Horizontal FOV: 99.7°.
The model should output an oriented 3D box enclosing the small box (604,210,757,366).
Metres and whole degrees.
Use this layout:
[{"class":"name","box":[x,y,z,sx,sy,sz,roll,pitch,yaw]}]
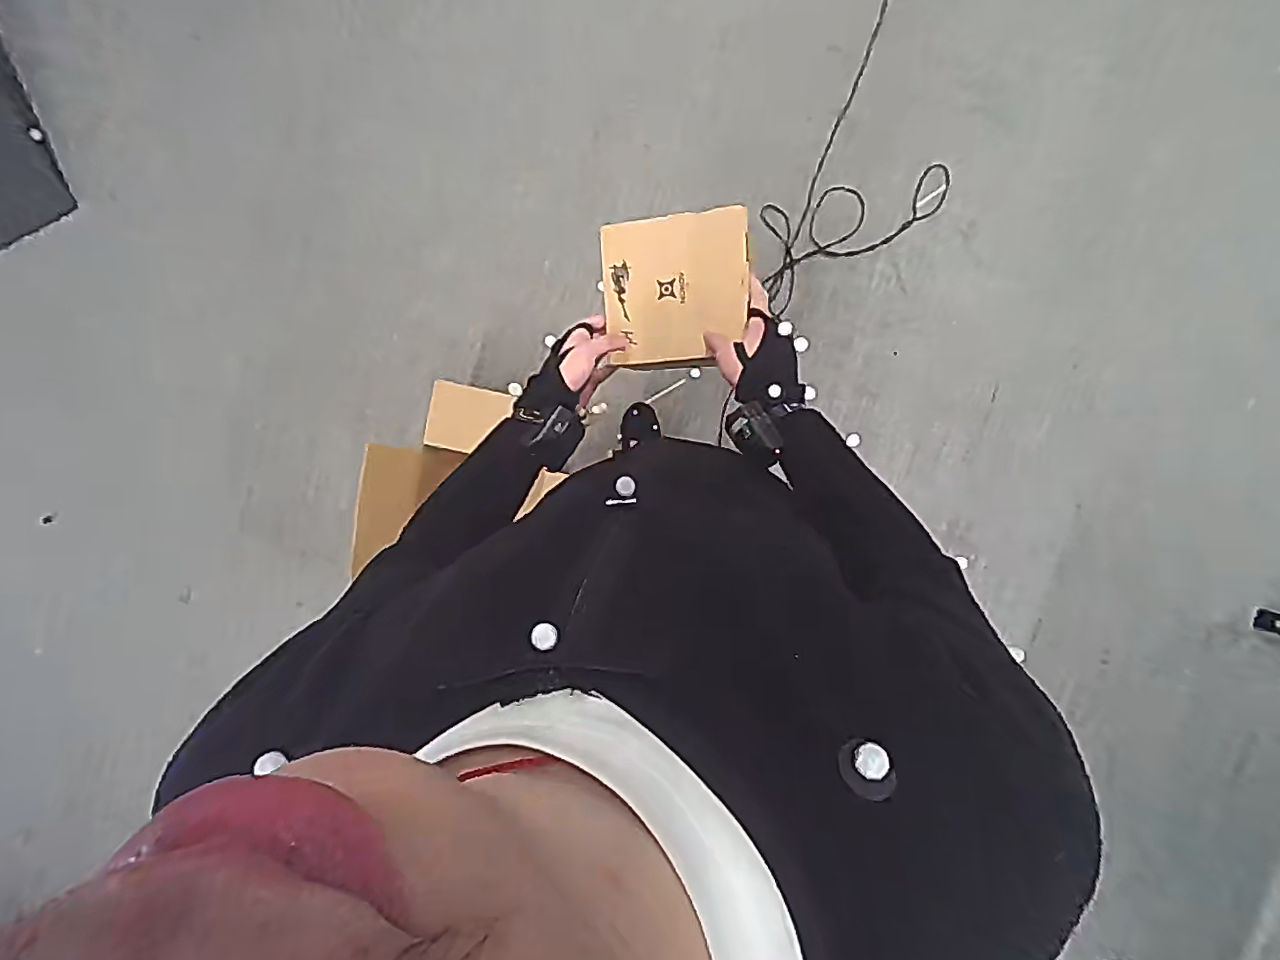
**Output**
[{"class":"small box","box":[0.063,-0.240,0.717,0.179,0.176,0.168,1,99,16]}]
